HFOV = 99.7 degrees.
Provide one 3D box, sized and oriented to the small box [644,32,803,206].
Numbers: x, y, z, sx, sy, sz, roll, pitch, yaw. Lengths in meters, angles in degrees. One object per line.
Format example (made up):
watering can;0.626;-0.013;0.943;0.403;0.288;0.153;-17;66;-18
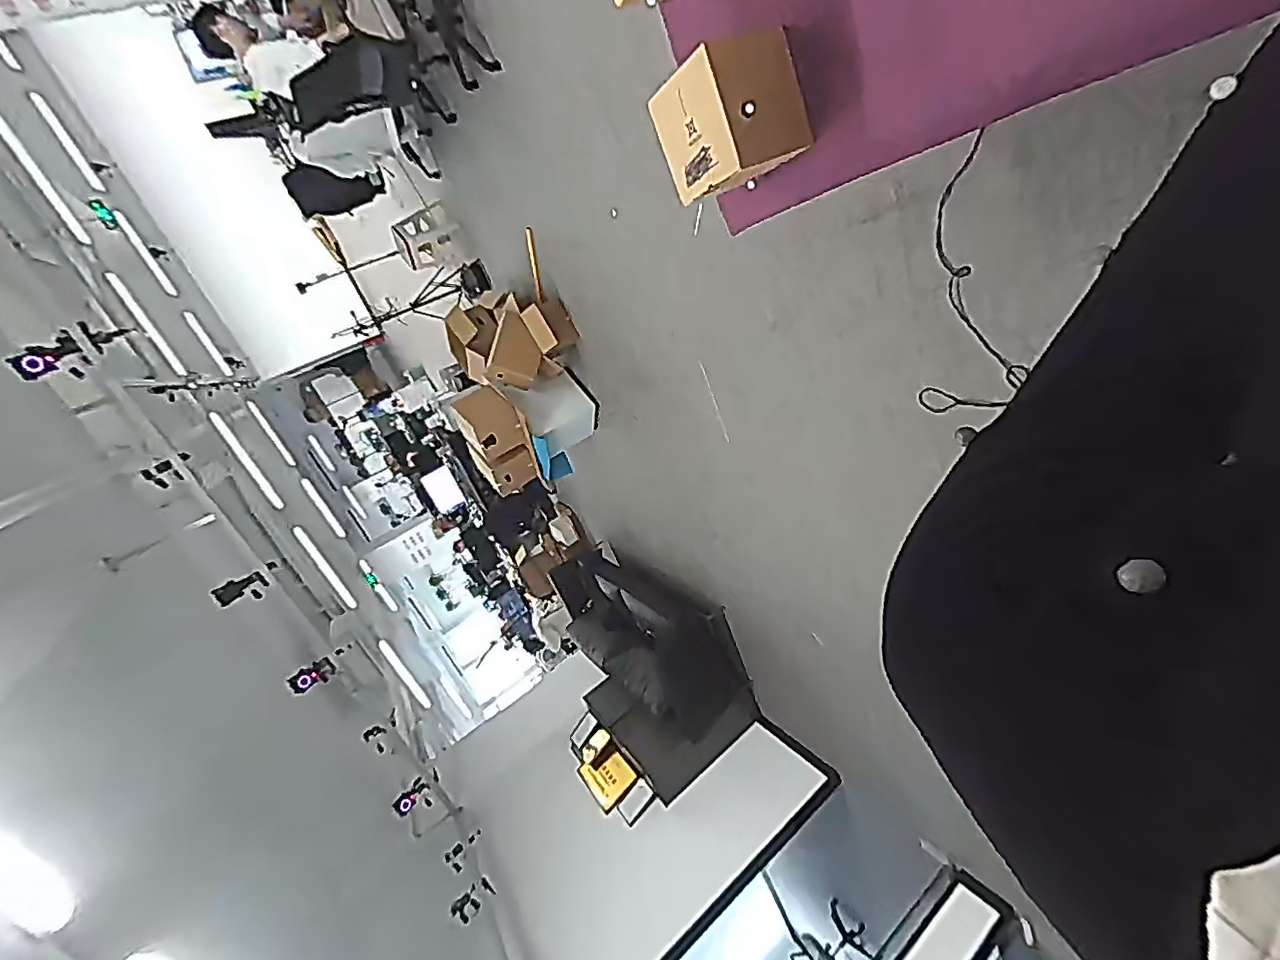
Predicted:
small box;0.141;-0.591;0.894;0.168;0.176;0.179;10;127;60
